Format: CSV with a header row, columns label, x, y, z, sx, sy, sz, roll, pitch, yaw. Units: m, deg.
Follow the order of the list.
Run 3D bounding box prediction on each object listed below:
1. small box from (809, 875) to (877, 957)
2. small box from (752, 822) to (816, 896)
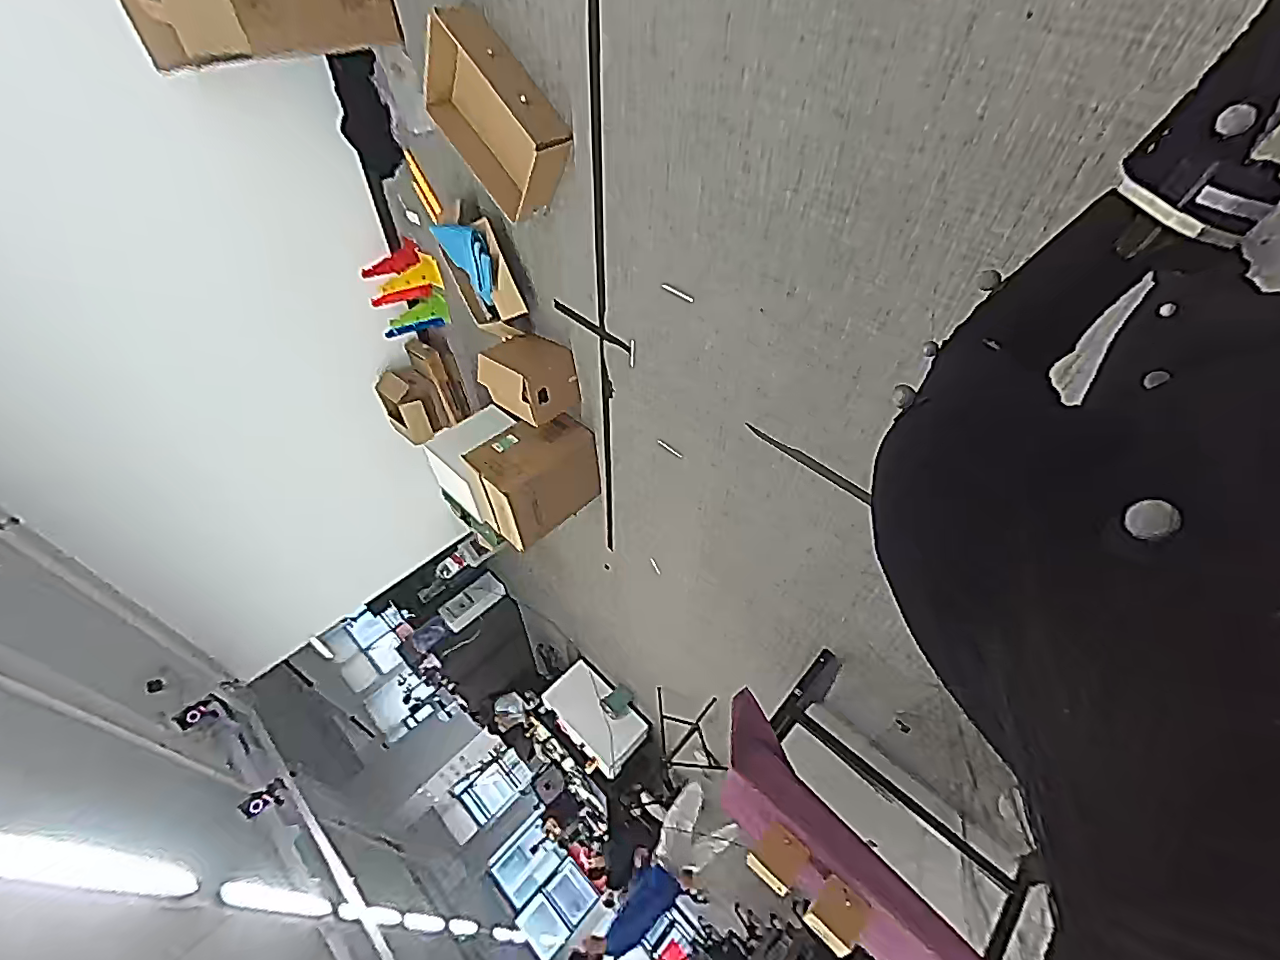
label,x,y,z,sx,sy,sz,roll,pitch,yaw
small box,0.763,1.635,2.030,0.168,0.176,0.179,32,145,32
small box,0.574,1.507,2.162,0.179,0.176,0.168,33,146,31
